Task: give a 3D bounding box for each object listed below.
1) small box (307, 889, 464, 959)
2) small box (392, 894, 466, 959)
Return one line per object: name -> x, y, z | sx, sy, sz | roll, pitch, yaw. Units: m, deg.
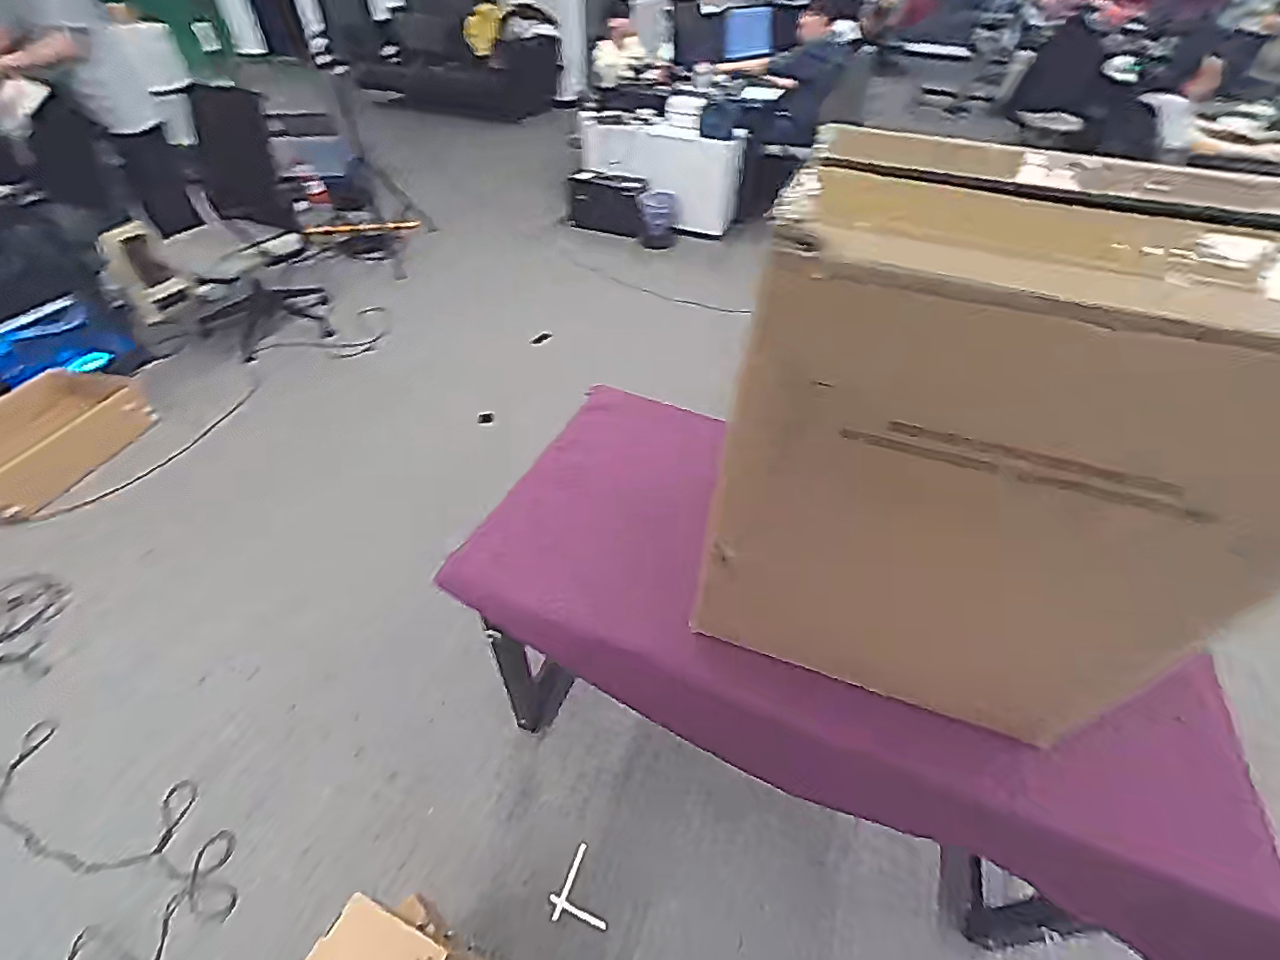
small box -> -0.388, 0.752, 0.795 | 0.179, 0.176, 0.168 | 19, 47, 16
small box -> -0.398, 0.859, 0.919 | 0.179, 0.176, 0.168 | 34, 52, 29
